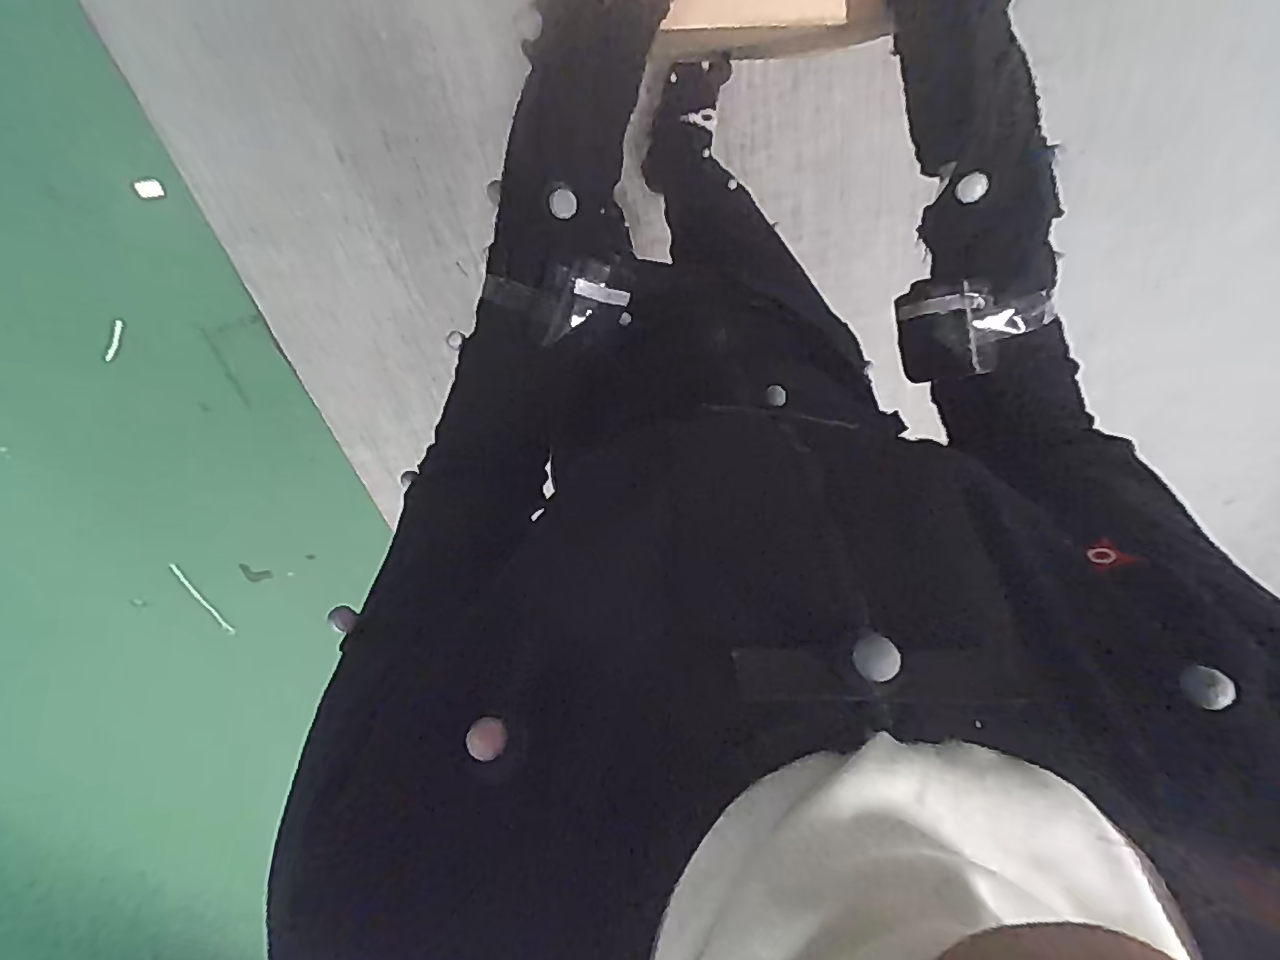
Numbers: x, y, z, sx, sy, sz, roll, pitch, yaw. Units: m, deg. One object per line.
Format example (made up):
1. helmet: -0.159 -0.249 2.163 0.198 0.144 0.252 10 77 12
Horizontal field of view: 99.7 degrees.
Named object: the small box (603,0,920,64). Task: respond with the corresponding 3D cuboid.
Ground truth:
1. small box: 0.066 -0.372 0.334 0.179 0.176 0.168 -4 122 -4
